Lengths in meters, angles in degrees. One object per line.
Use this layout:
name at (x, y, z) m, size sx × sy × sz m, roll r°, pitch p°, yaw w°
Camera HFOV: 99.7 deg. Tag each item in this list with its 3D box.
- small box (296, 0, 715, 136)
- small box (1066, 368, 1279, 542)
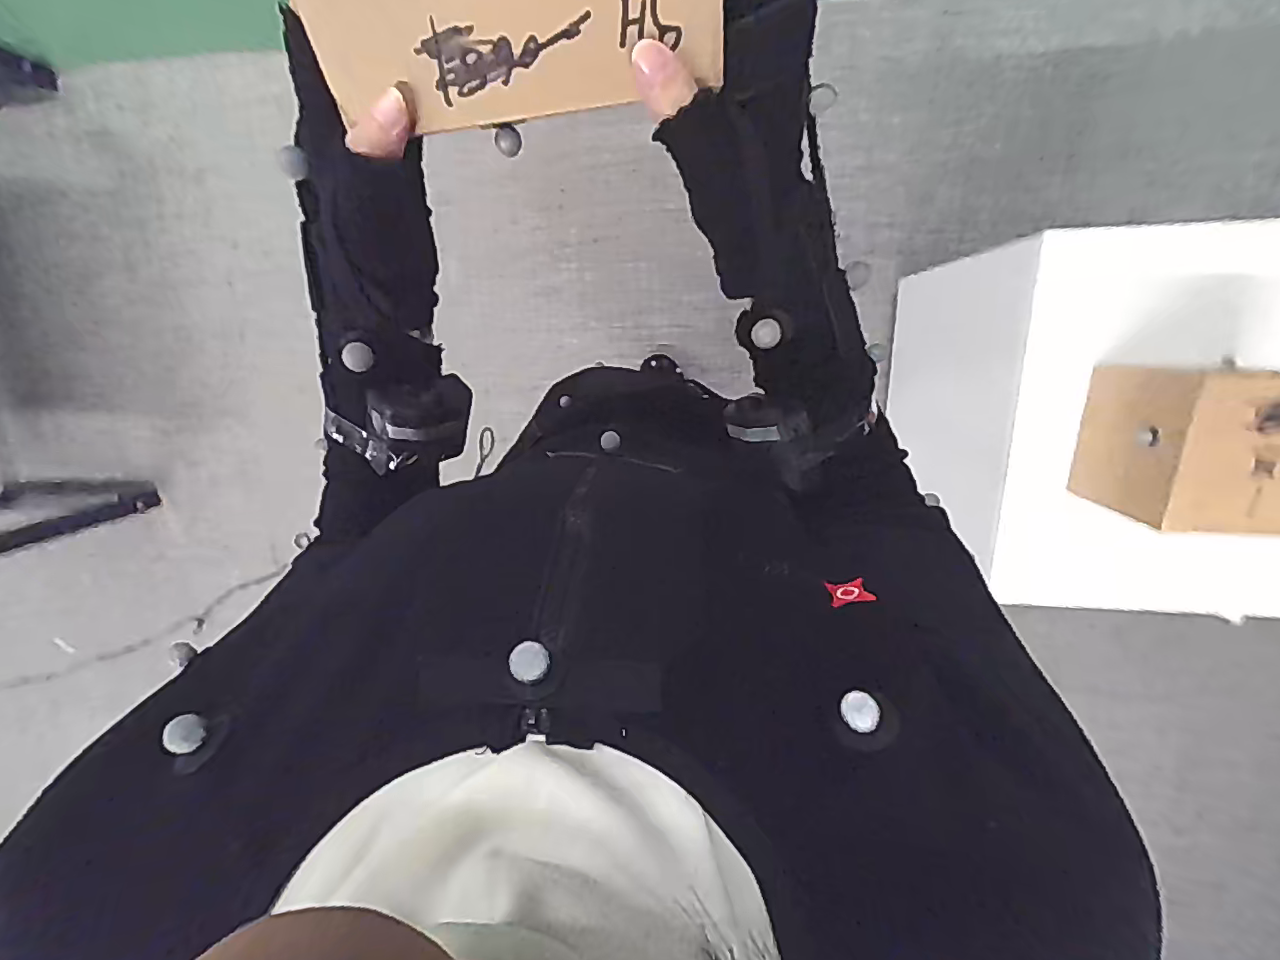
small box at (-0.061, -0.281, 0.247) m, size 0.168 × 0.176 × 0.179 m, roll -7°, pitch 128°, yaw 8°
small box at (0.654, -0.040, 0.640) m, size 0.168 × 0.176 × 0.179 m, roll 4°, pitch 105°, yaw 7°
